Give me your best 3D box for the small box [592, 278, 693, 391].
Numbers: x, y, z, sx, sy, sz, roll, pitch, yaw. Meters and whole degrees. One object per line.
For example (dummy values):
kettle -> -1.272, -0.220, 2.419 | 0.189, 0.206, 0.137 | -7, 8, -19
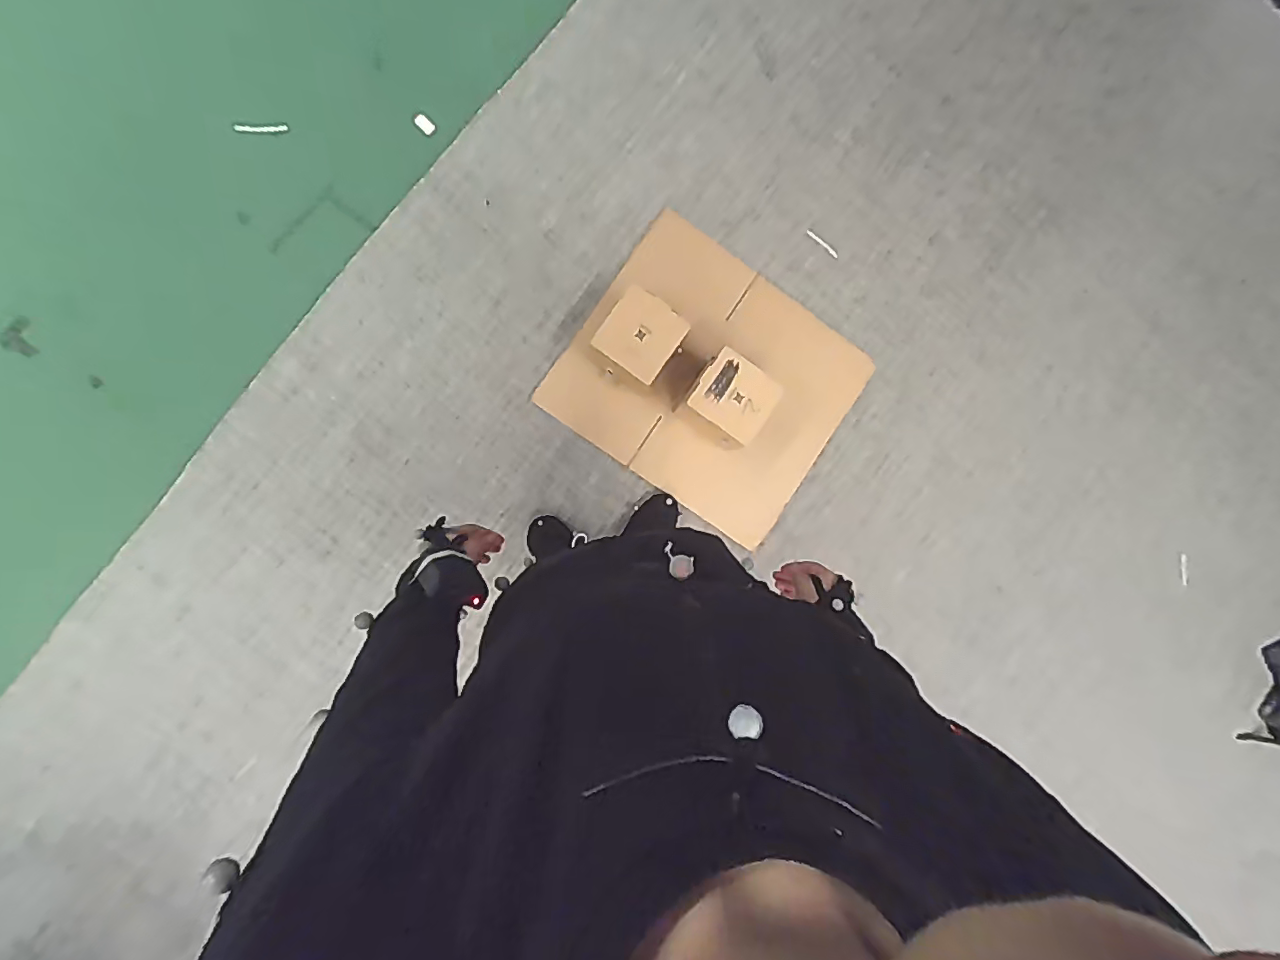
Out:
small box -> -0.003, -0.332, 1.272 | 0.168, 0.176, 0.179 | 35, 88, -5
